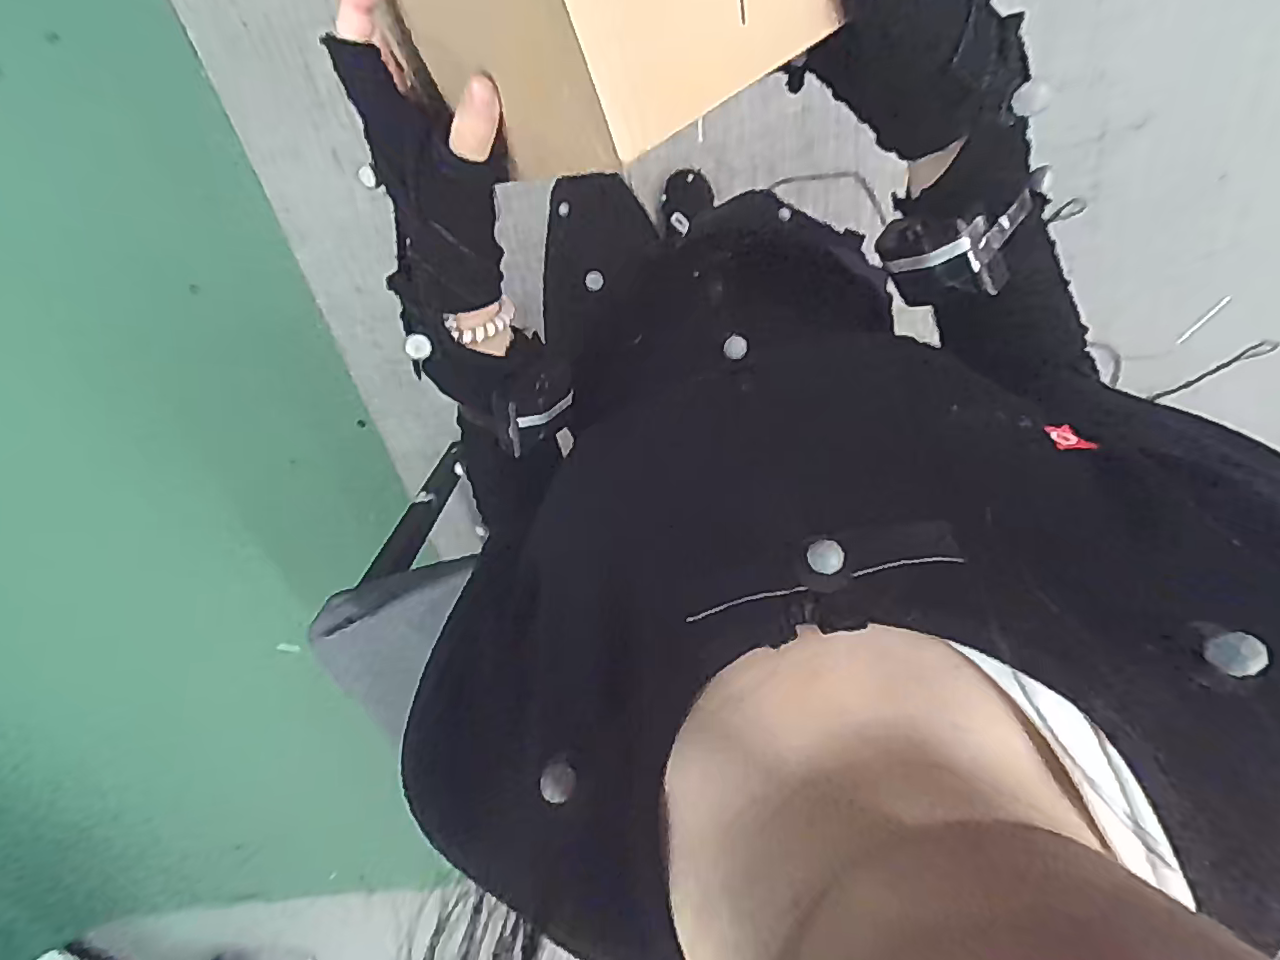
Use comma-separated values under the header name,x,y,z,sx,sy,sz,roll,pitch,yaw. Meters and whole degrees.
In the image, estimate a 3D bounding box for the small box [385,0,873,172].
name,x,y,z,sx,sy,sz,roll,pitch,yaw
small box,-0.025,-0.264,0.239,0.168,0.176,0.179,-41,131,-17
